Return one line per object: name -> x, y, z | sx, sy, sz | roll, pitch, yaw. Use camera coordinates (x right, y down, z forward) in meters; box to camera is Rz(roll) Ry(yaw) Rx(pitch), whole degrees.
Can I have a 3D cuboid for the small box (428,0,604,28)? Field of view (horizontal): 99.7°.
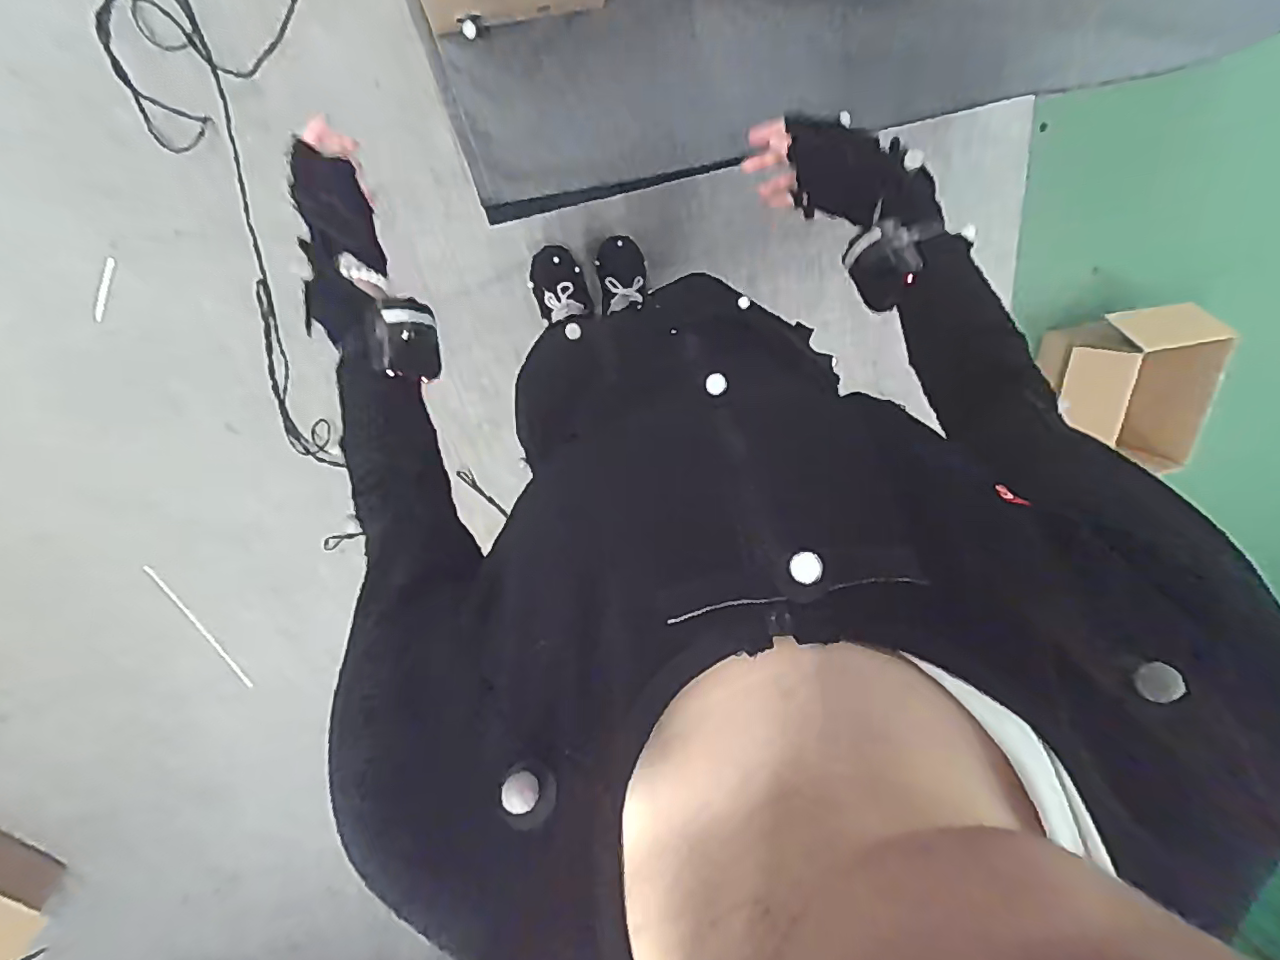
small box -> -0.109, -0.480, 0.409 | 0.168, 0.176, 0.179 | -15, 114, -7
